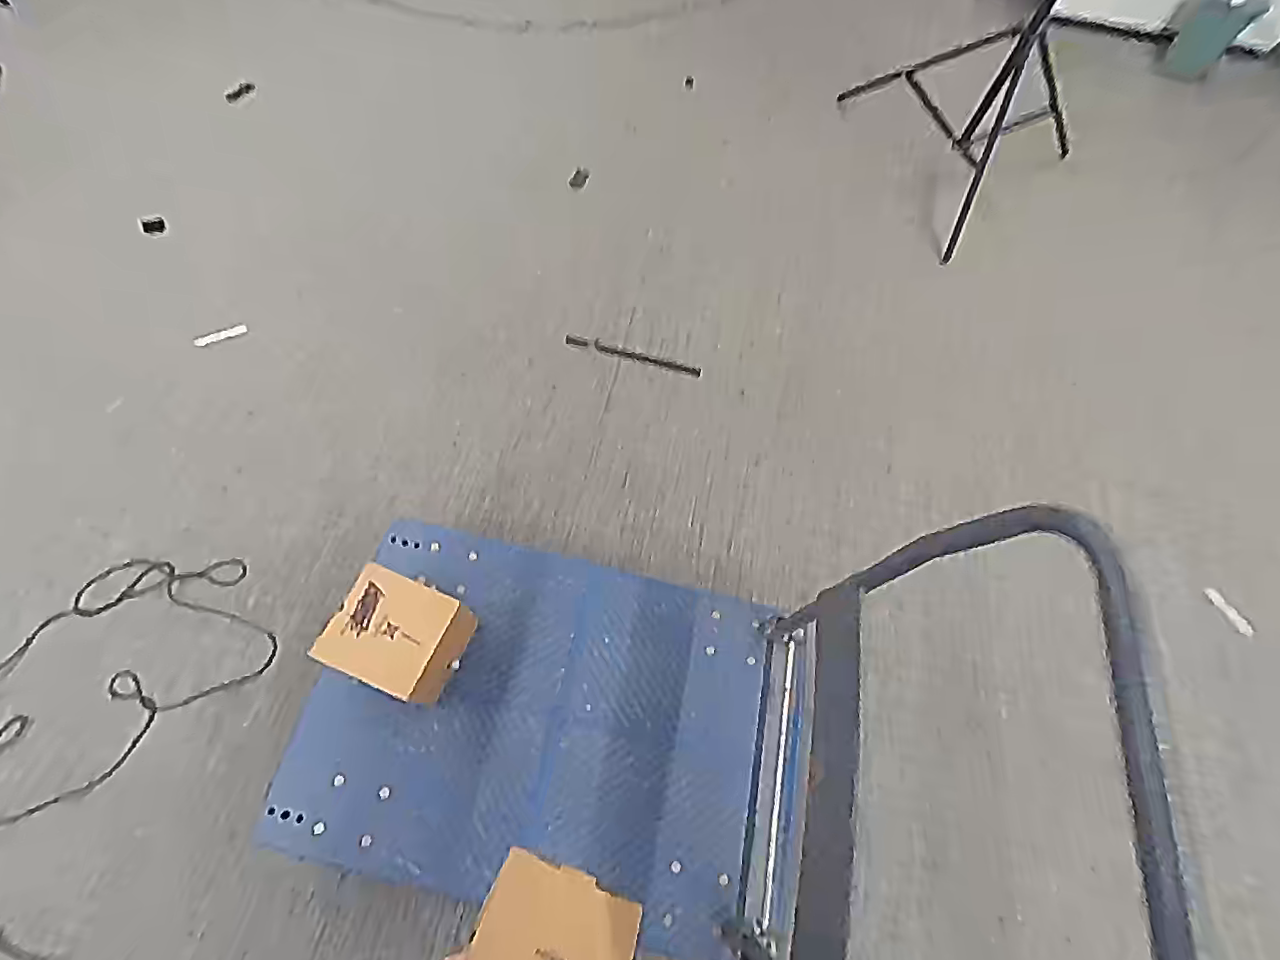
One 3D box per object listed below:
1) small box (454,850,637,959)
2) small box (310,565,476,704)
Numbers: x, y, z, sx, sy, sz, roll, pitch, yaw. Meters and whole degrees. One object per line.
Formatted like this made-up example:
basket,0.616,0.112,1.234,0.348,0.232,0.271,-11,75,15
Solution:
small box,-0.124,0.551,0.576,0.168,0.176,0.179,25,33,2
small box,-0.411,0.274,0.934,0.179,0.176,0.168,23,65,5
